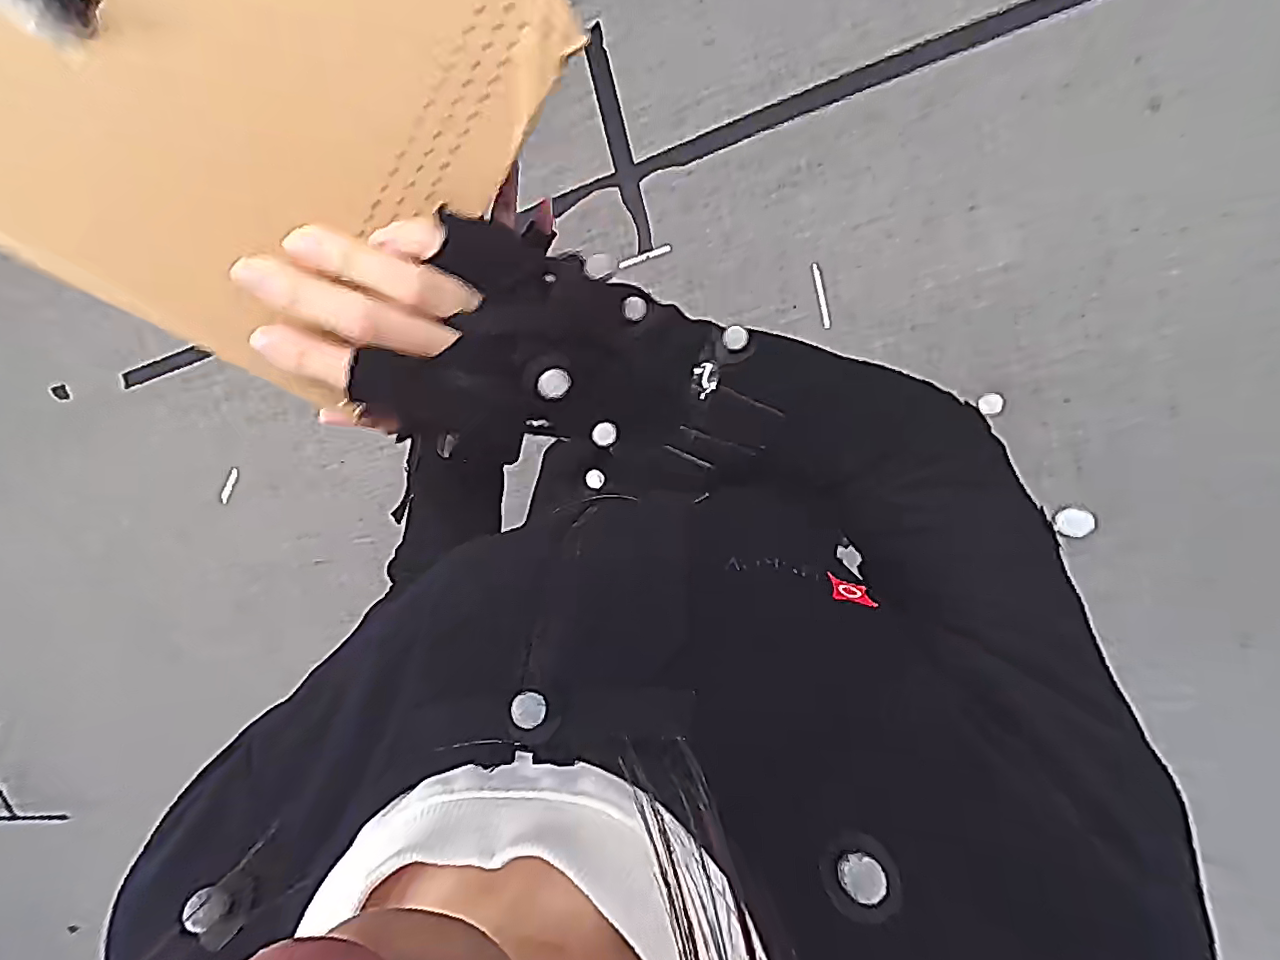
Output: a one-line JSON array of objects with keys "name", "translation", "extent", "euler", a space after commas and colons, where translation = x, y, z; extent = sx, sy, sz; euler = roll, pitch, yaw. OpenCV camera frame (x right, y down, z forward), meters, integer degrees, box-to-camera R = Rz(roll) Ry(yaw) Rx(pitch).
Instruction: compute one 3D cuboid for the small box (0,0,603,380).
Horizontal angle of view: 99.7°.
[{"name": "small box", "translation": [-0.142, -0.176, 0.249], "extent": [0.176, 0.168, 0.179], "euler": [30, 109, -30]}]
